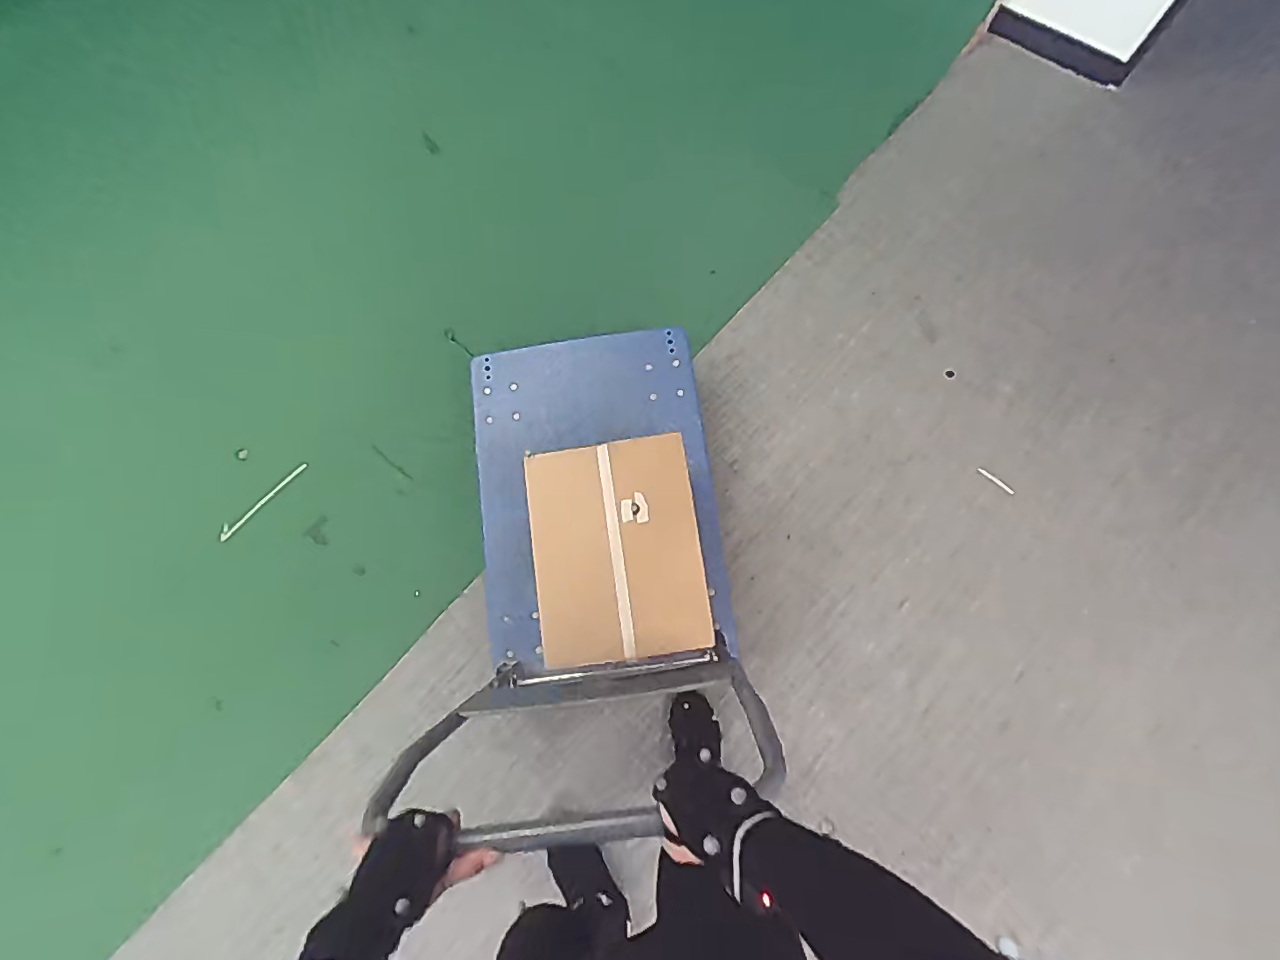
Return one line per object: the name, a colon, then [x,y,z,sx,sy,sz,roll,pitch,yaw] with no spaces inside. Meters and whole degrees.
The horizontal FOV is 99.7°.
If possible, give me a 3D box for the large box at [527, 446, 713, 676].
large box: [-0.036,0.176,1.172,0.320,0.320,0.408,-8,79,1]
